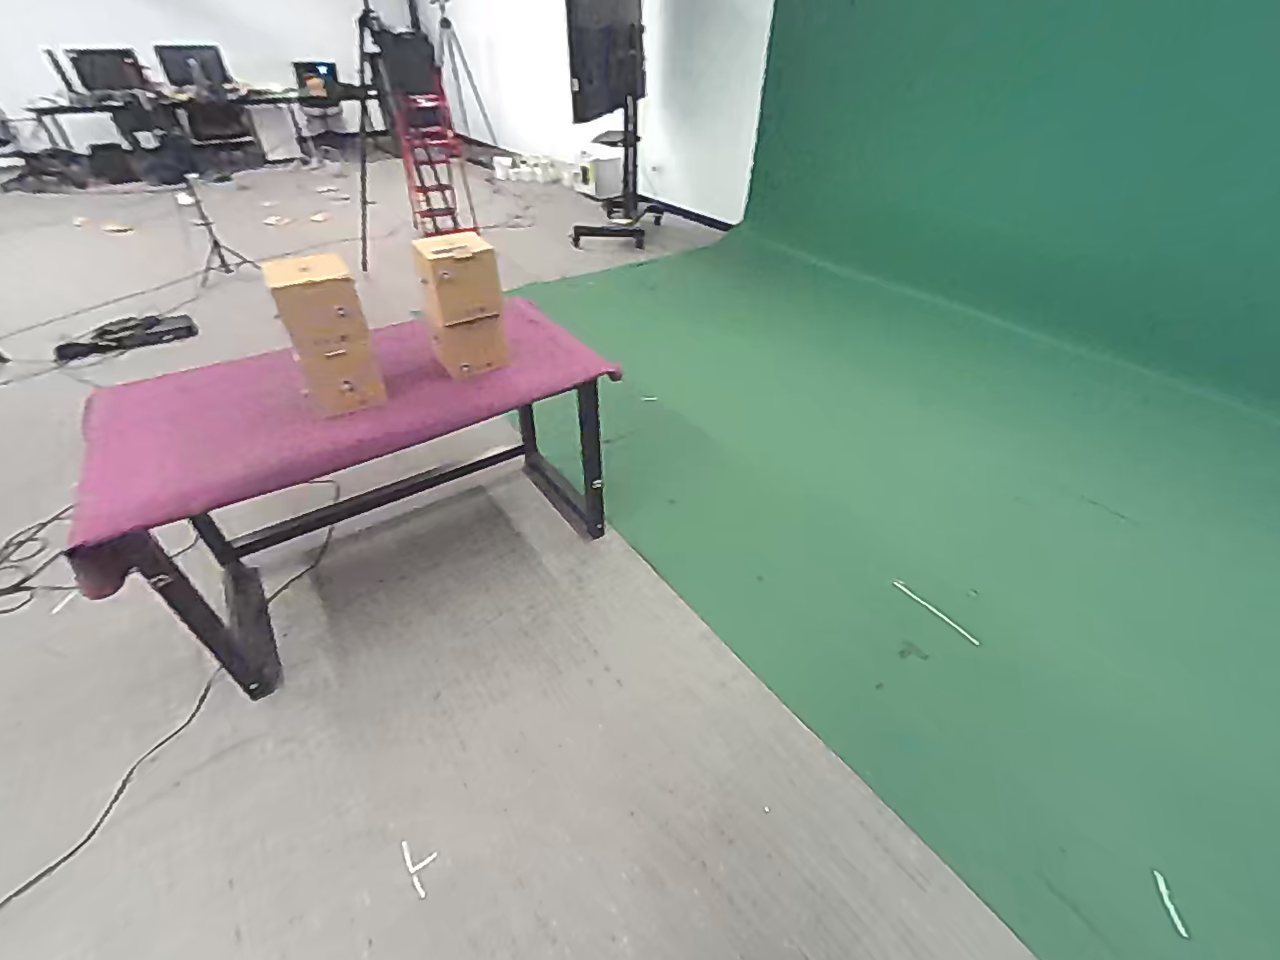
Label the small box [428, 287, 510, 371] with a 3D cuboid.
[{"bbox_3d":[-0.479,-0.422,1.526,0.168,0.176,0.179,-20,45,-25],"label":"small box"}]

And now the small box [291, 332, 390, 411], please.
[{"bbox_3d":[-0.755,-0.291,1.371,0.168,0.176,0.179,-21,46,-25],"label":"small box"}]

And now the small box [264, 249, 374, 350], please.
[{"bbox_3d":[-0.748,-0.419,1.269,0.168,0.176,0.179,-22,45,-25],"label":"small box"}]
